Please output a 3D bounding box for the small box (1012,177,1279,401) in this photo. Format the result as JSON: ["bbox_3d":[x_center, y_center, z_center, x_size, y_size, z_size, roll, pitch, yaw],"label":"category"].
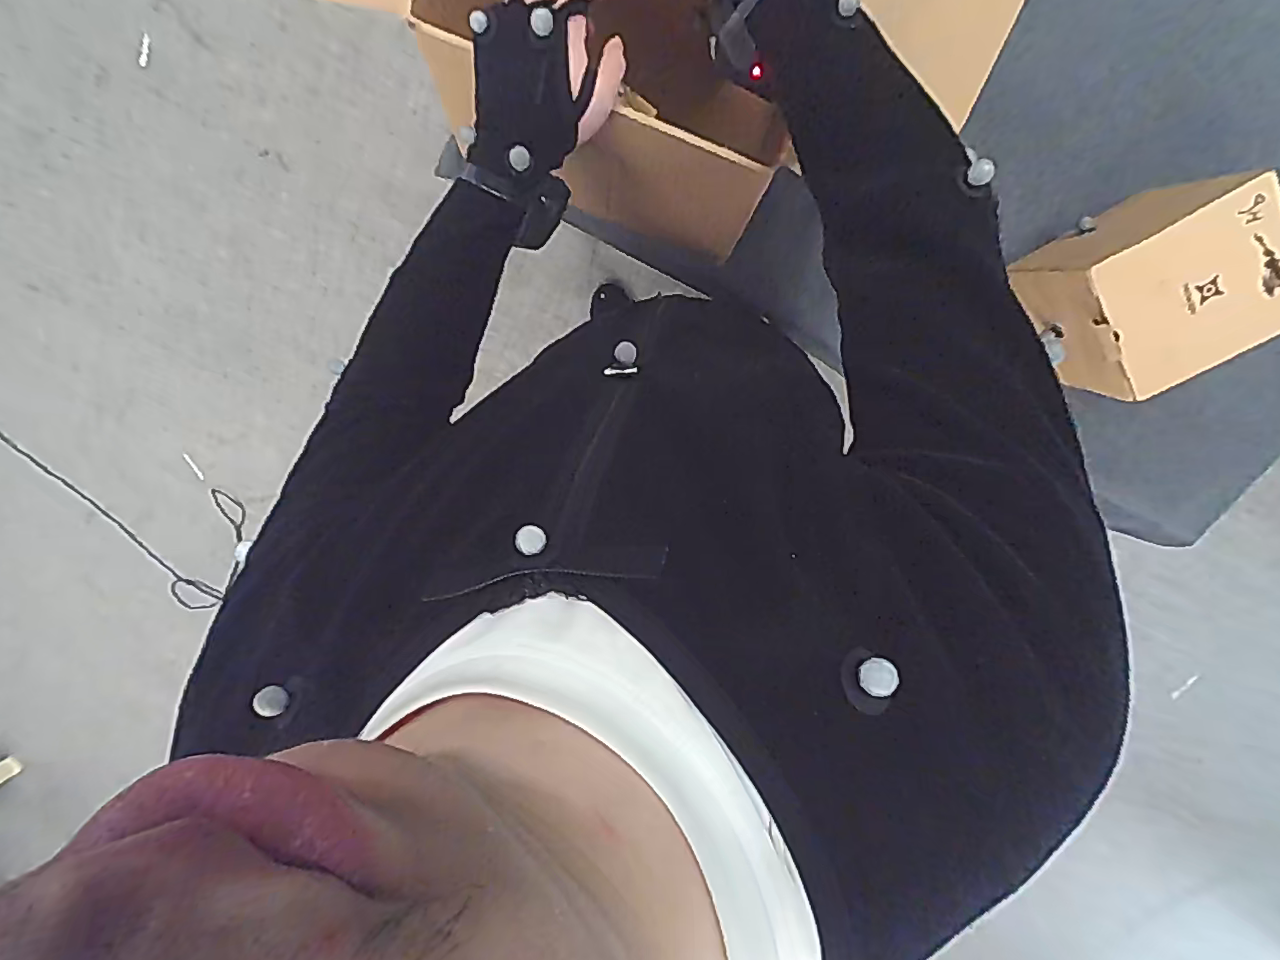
[{"bbox_3d":[0.584,-0.218,0.642,0.179,0.176,0.168,-29,105,14],"label":"small box"}]
